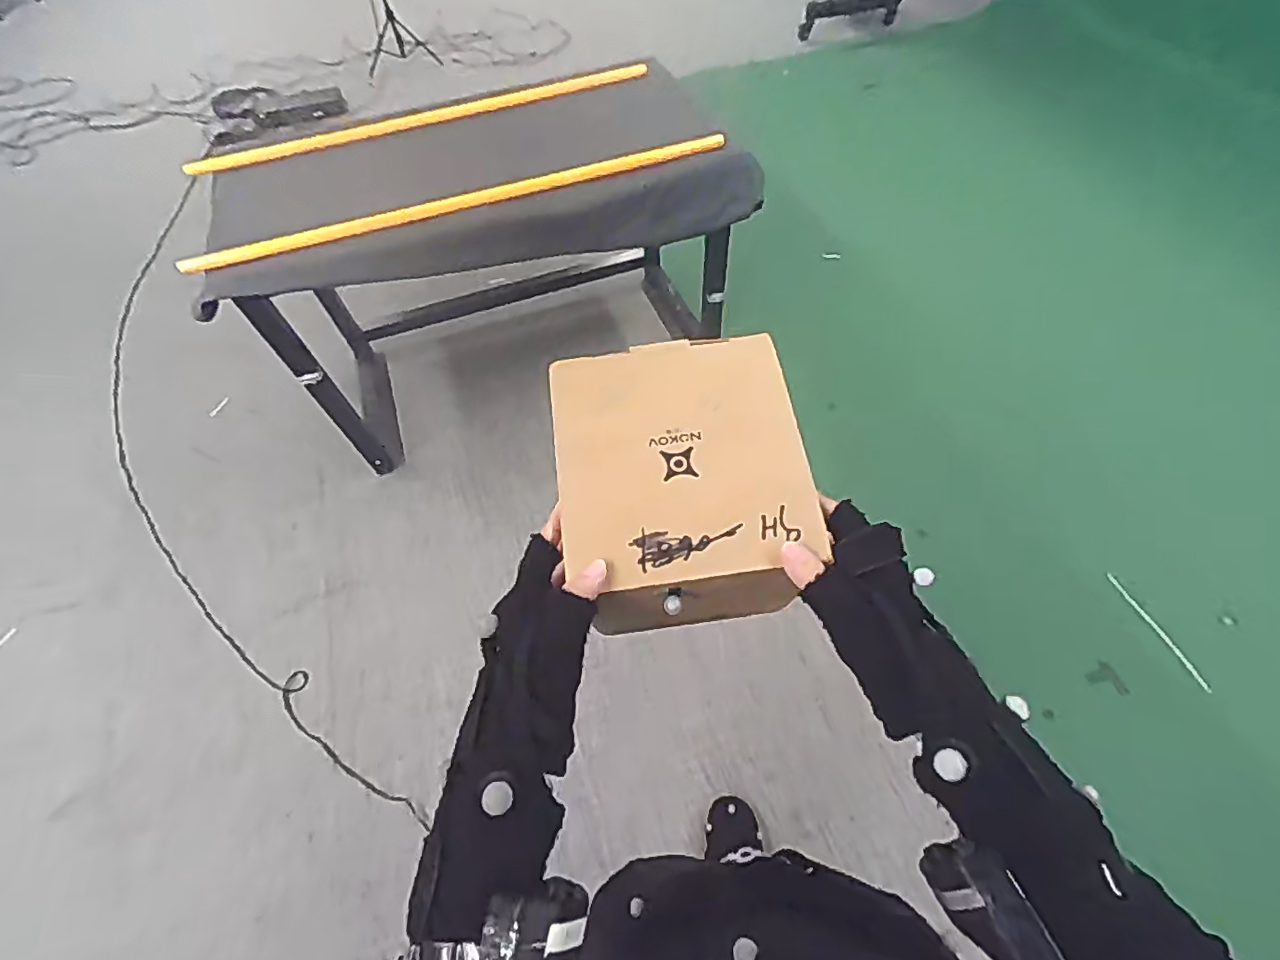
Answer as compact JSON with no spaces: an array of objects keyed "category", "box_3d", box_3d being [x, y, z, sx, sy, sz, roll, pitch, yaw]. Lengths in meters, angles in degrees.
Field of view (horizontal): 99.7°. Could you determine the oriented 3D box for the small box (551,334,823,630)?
[{"category":"small box","box_3d":[0.027,0.011,0.442,0.168,0.176,0.179,-9,65,0]}]
